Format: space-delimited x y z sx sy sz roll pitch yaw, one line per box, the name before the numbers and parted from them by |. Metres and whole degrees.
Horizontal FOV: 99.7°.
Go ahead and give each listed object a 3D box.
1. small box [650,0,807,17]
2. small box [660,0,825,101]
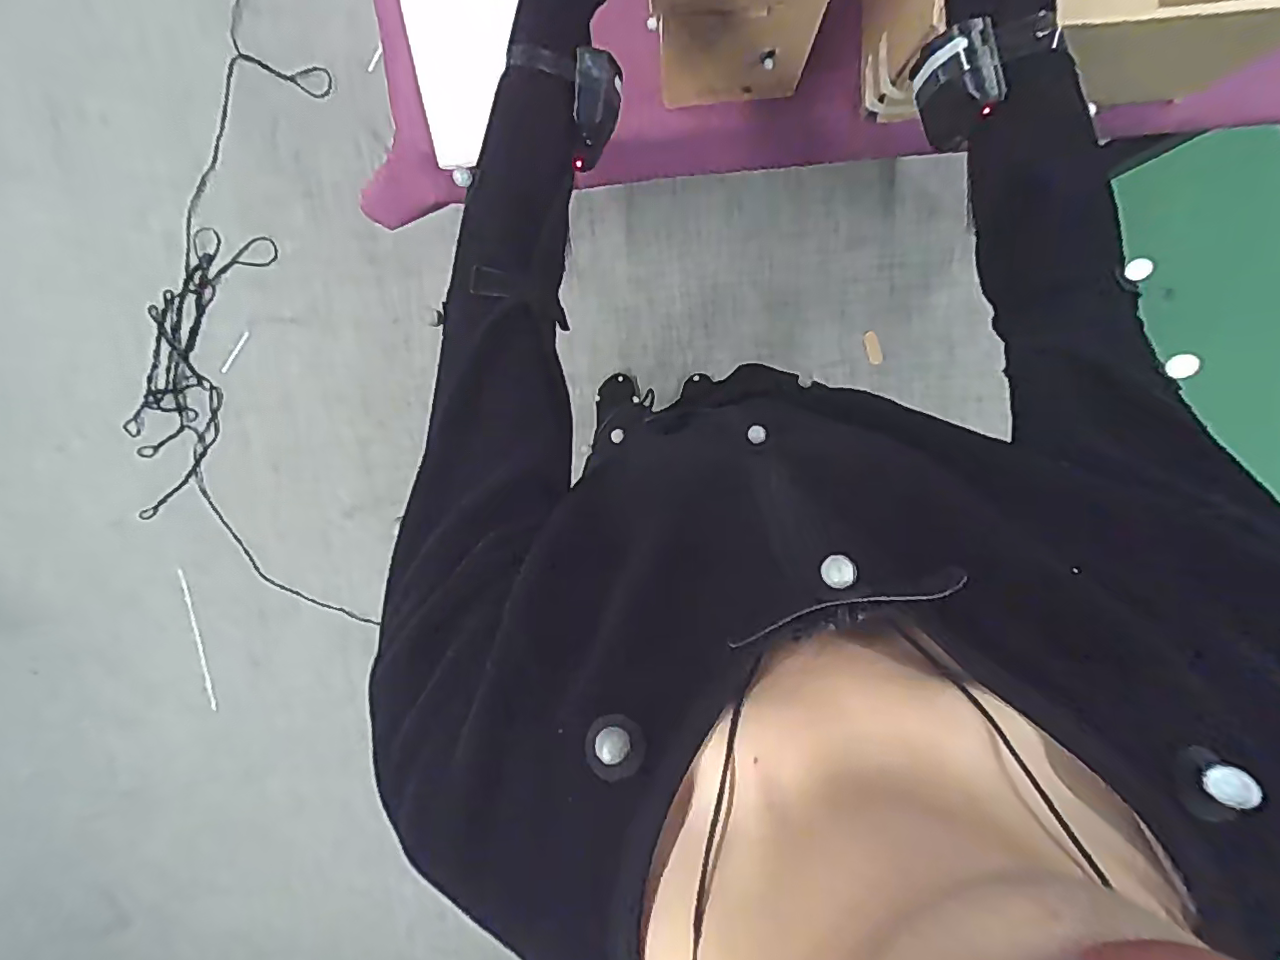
small box | 0.090 -0.521 0.435 0.179 0.176 0.168 -2 99 3
small box | 0.105 -0.556 0.604 0.168 0.176 0.179 -2 97 4
